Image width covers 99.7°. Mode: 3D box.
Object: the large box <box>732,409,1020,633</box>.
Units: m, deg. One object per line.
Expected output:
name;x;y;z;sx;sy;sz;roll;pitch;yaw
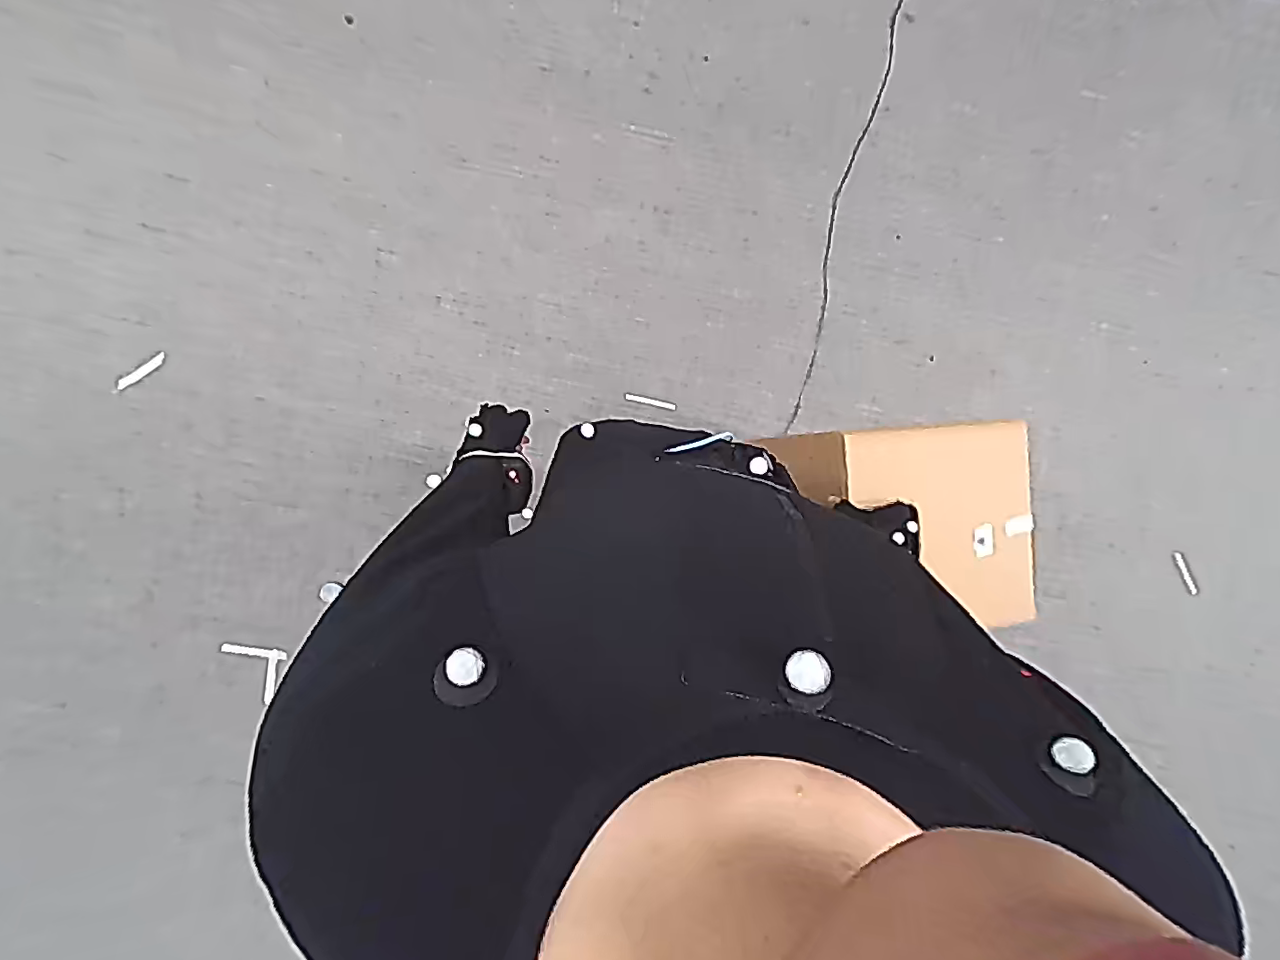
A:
large box;0.398;0.055;1.002;0.320;0.408;0.320;-6;93;-10
